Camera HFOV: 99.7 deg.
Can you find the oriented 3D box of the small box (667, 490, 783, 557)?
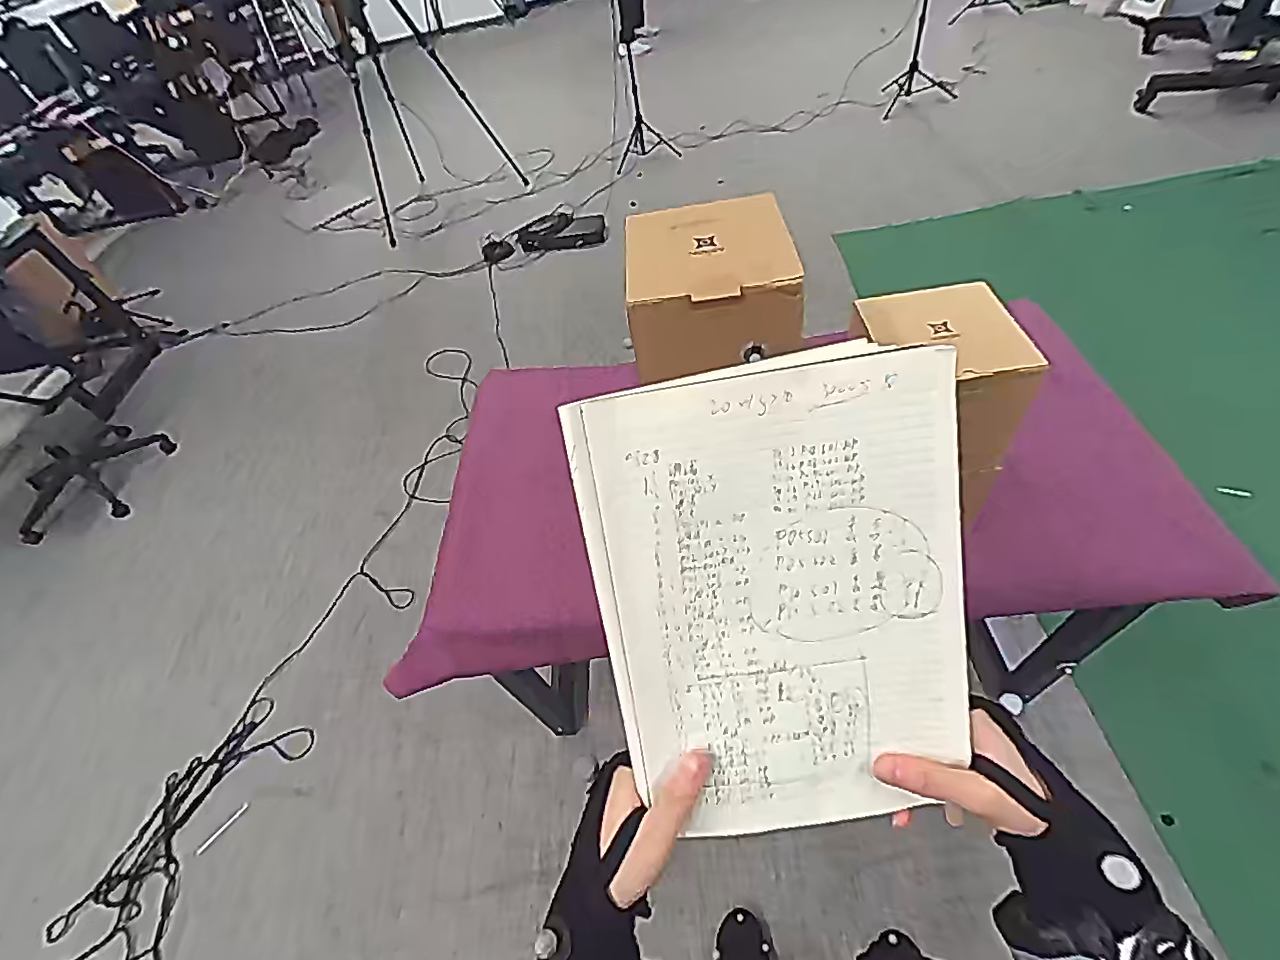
[{"bbox_3d":[0.132,0.013,0.868,0.168,0.176,0.179,-6,51,6],"label":"small box"}]

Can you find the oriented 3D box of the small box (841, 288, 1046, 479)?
[{"bbox_3d":[0.376,-0.124,0.713,0.168,0.176,0.179,-7,49,7],"label":"small box"}]

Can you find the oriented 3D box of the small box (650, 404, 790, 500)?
[{"bbox_3d":[0.106,-0.085,0.738,0.168,0.176,0.179,-6,50,6],"label":"small box"}]

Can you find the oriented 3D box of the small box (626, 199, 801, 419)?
[{"bbox_3d":[0.081,-0.183,0.610,0.168,0.176,0.179,-5,50,6],"label":"small box"}]
